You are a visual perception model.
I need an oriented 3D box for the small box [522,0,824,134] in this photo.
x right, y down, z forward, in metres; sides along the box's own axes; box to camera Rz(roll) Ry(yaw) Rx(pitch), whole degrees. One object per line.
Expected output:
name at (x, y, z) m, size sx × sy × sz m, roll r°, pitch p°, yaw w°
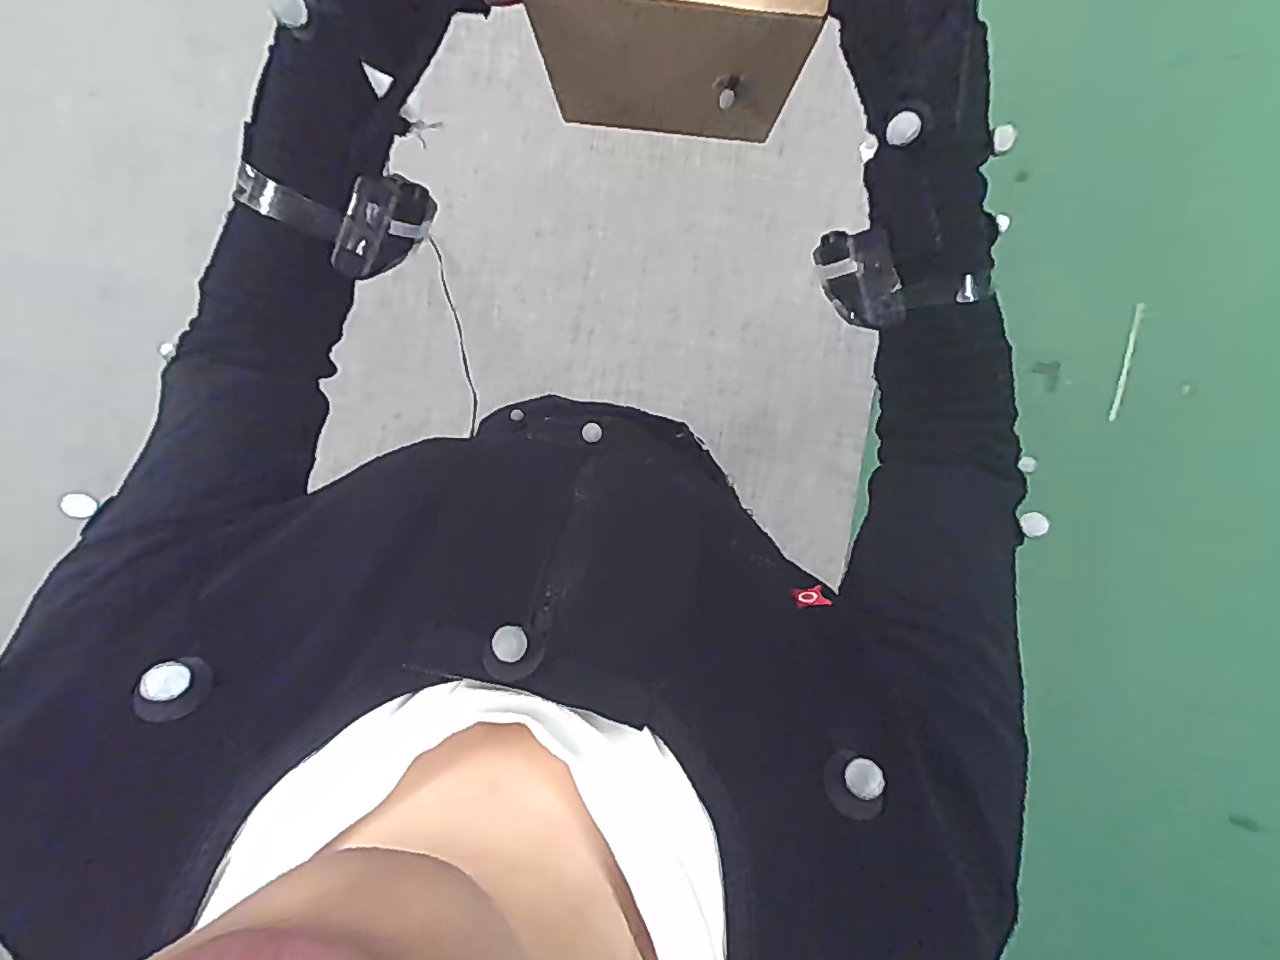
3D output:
small box at (0.026, -0.362, 0.366) m, size 0.179 × 0.176 × 0.168 m, roll 6°, pitch 100°, yaw 2°
